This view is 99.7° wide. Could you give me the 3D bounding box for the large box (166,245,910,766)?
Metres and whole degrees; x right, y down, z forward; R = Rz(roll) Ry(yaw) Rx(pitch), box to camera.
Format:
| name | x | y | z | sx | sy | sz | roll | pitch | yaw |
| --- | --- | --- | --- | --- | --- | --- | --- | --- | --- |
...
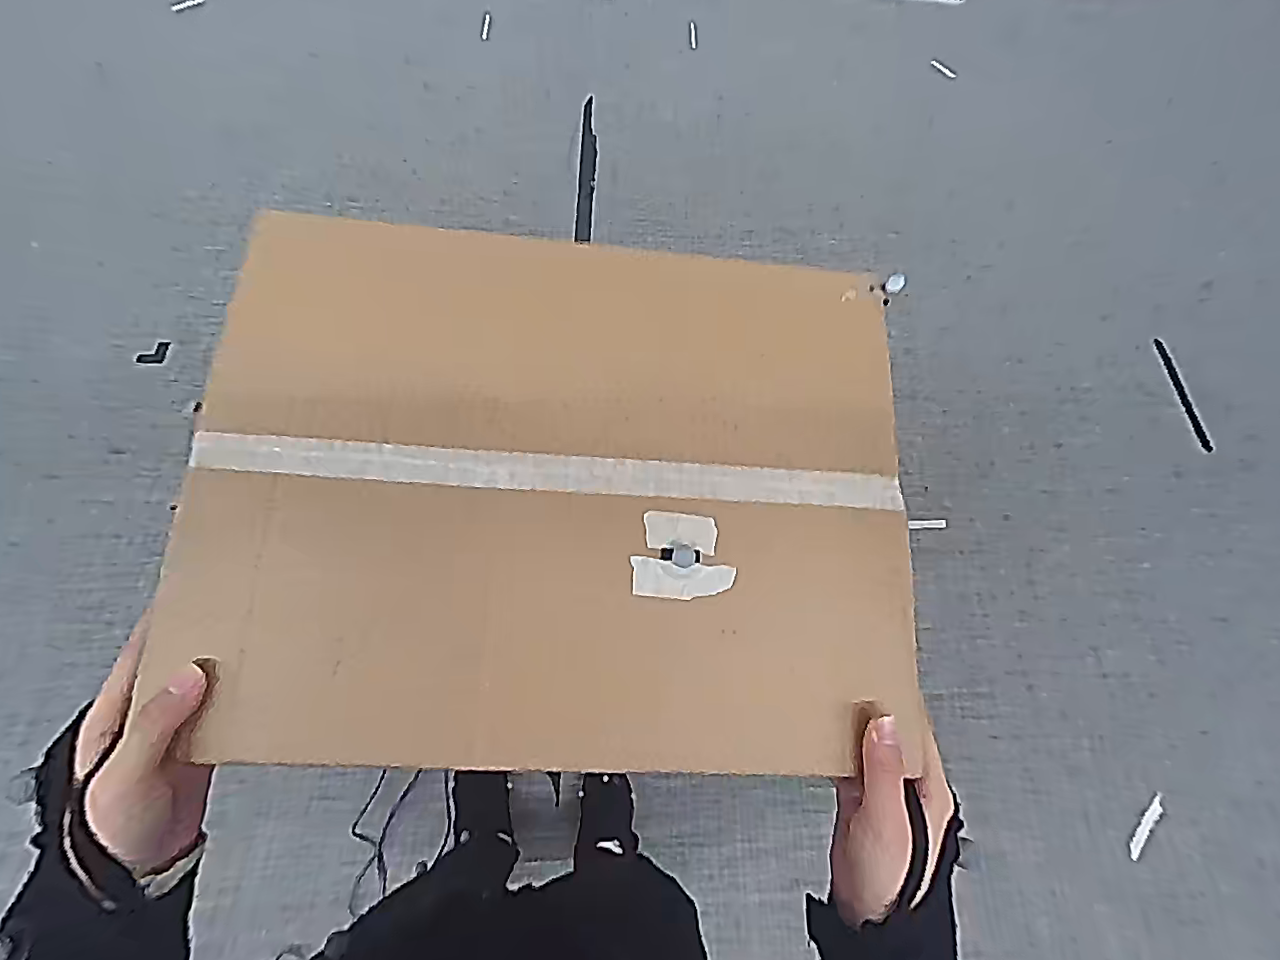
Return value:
| name | x | y | z | sx | sy | sz | roll | pitch | yaw |
| --- | --- | --- | --- | --- | --- | --- | --- | --- | --- |
| large box | -0.055 | 0.043 | 0.471 | 0.408 | 0.320 | 0.320 | 4 | 75 | -6 |
